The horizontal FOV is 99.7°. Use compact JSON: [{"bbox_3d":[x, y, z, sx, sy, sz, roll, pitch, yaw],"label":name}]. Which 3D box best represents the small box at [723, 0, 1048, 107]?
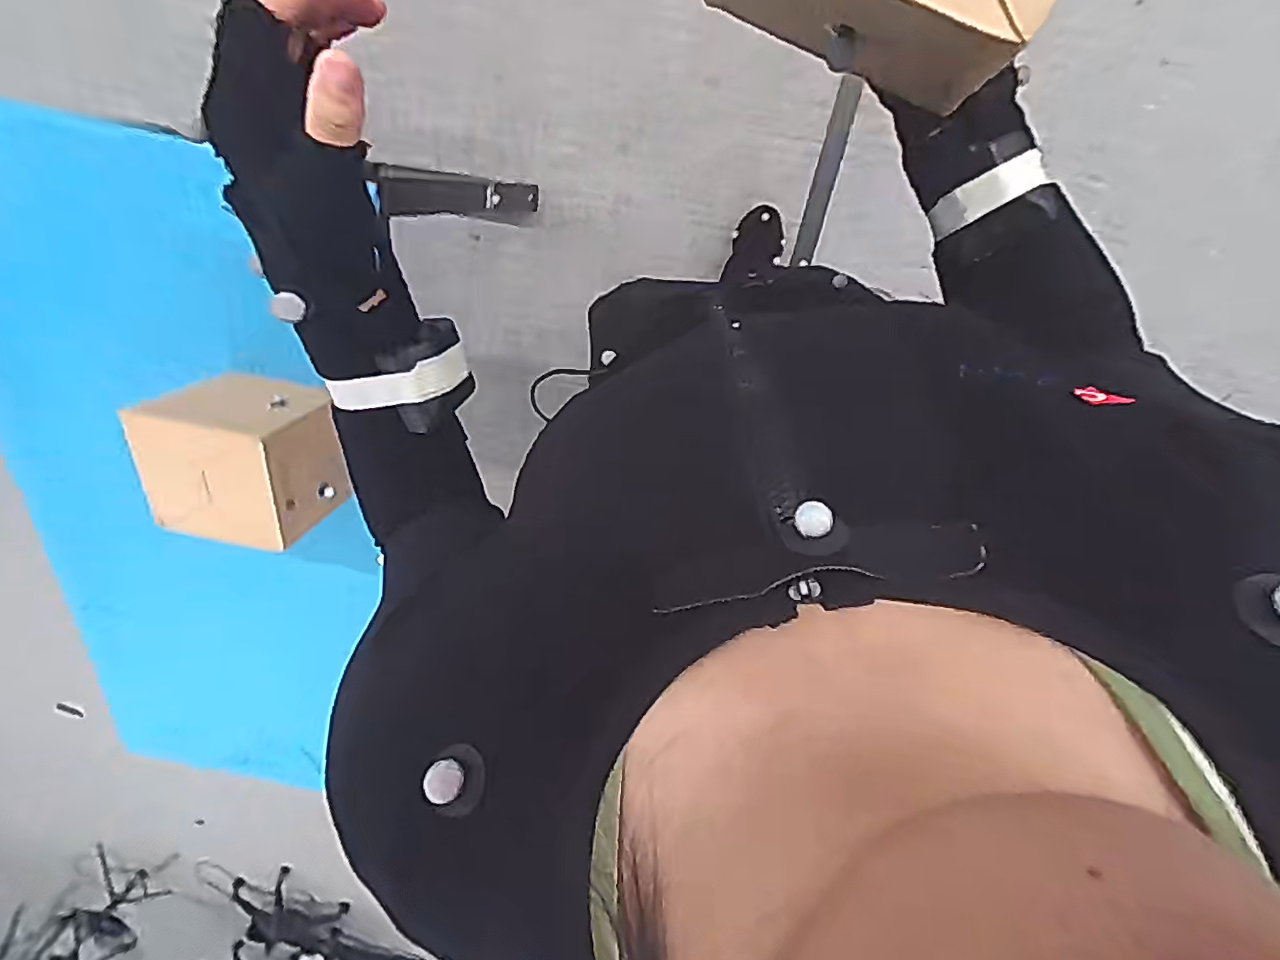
[{"bbox_3d":[0.131,-0.306,0.242,0.179,0.176,0.168,30,119,4],"label":"small box"}]

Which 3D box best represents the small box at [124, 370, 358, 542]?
[{"bbox_3d":[-0.520,-0.035,0.731,0.179,0.176,0.168,10,118,2],"label":"small box"}]
